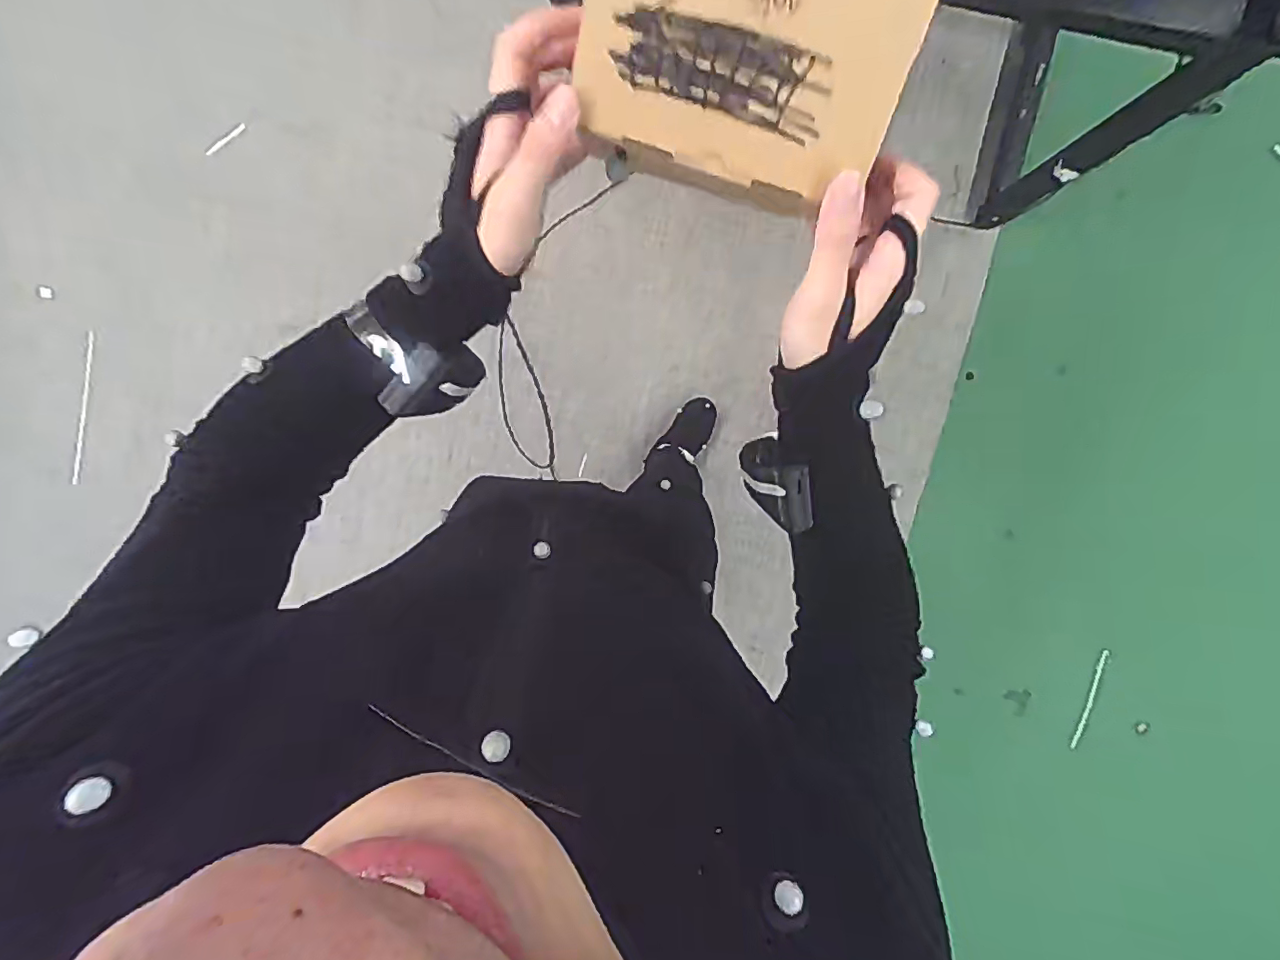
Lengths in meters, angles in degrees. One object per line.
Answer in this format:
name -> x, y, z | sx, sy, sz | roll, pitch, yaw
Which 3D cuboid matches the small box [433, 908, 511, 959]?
small box -> -0.454, 1.287, 1.432 | 0.179, 0.176, 0.168 | 12, 95, 0
